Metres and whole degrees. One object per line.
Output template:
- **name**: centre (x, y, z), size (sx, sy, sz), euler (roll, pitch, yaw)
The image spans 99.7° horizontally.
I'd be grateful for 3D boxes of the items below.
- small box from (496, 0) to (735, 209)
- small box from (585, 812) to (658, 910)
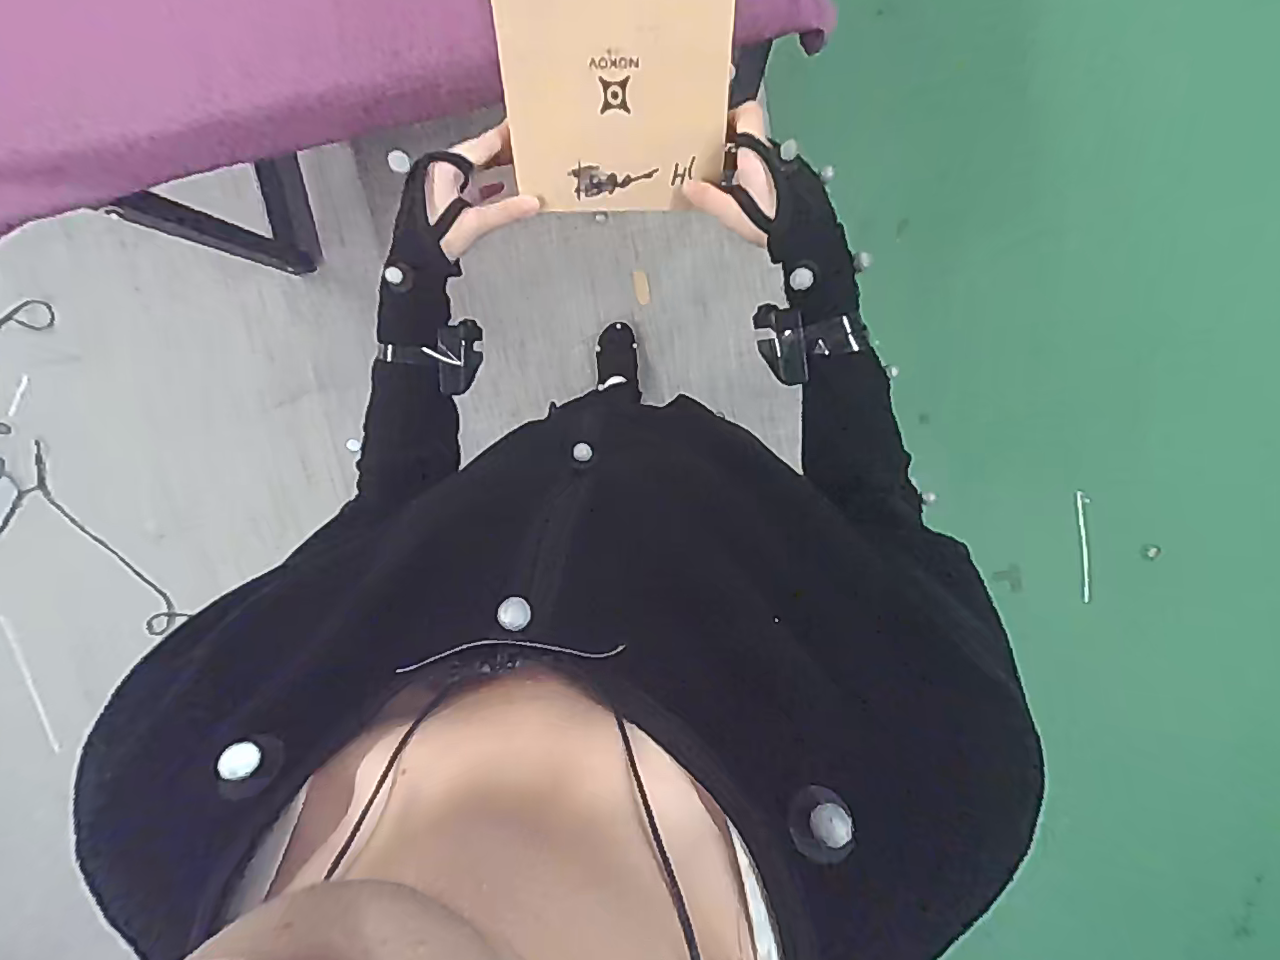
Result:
- **small box**: centre (-0.015, -0.341, 0.455), size (0.168, 0.176, 0.179), euler (1, 128, 2)
- **small box**: centre (-0.050, 1.088, 1.546), size (0.179, 0.176, 0.168), euler (-16, 95, 8)
